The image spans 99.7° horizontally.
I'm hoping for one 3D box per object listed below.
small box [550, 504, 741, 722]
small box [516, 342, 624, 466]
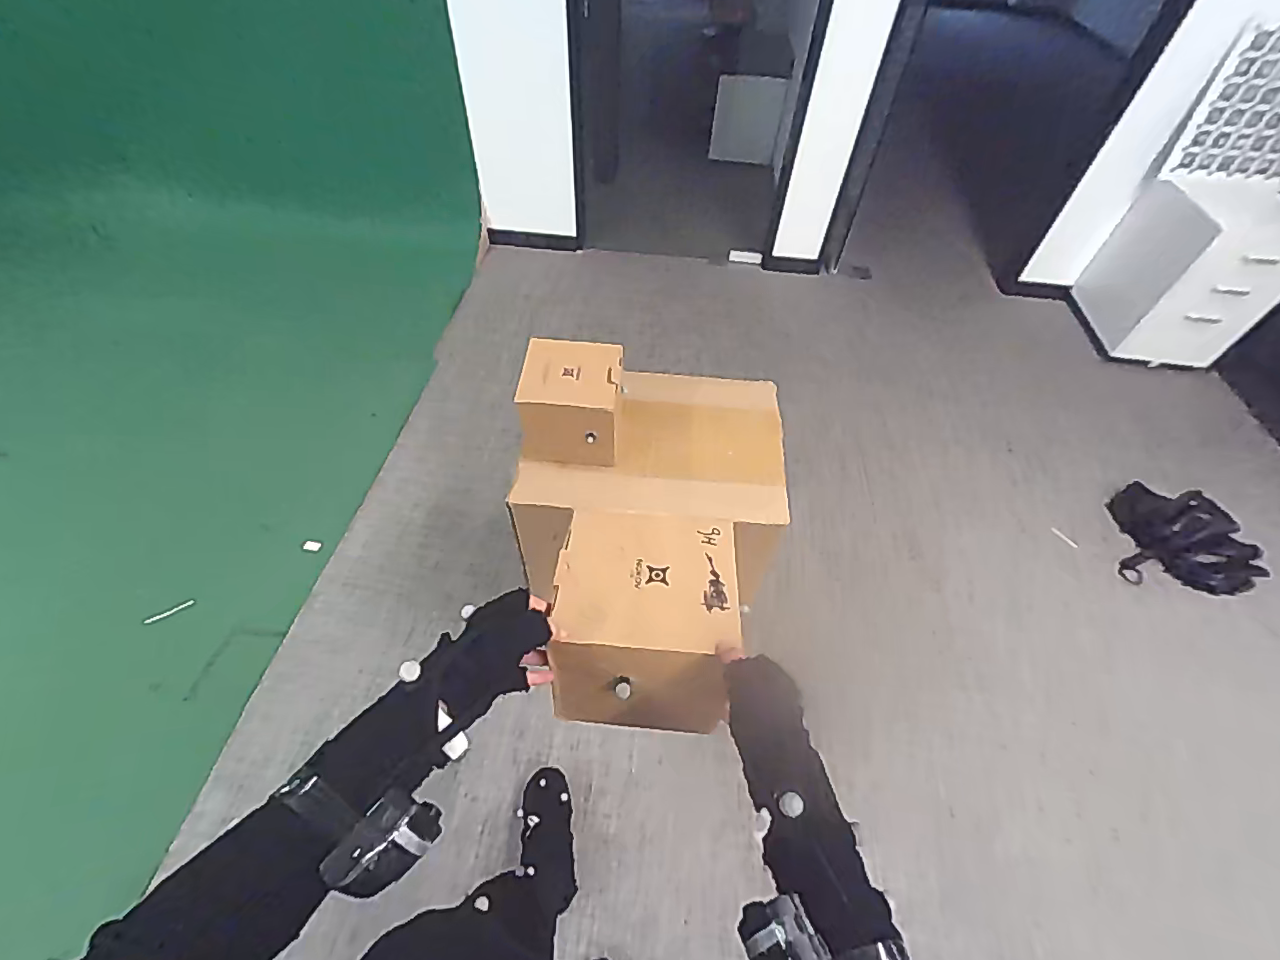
[{"bbox_3d":[0.008,0.147,0.593,0.179,0.176,0.168,5,43,1],"label":"small box"},{"bbox_3d":[-0.125,-0.142,1.038,0.179,0.176,0.168,3,54,1],"label":"small box"}]
